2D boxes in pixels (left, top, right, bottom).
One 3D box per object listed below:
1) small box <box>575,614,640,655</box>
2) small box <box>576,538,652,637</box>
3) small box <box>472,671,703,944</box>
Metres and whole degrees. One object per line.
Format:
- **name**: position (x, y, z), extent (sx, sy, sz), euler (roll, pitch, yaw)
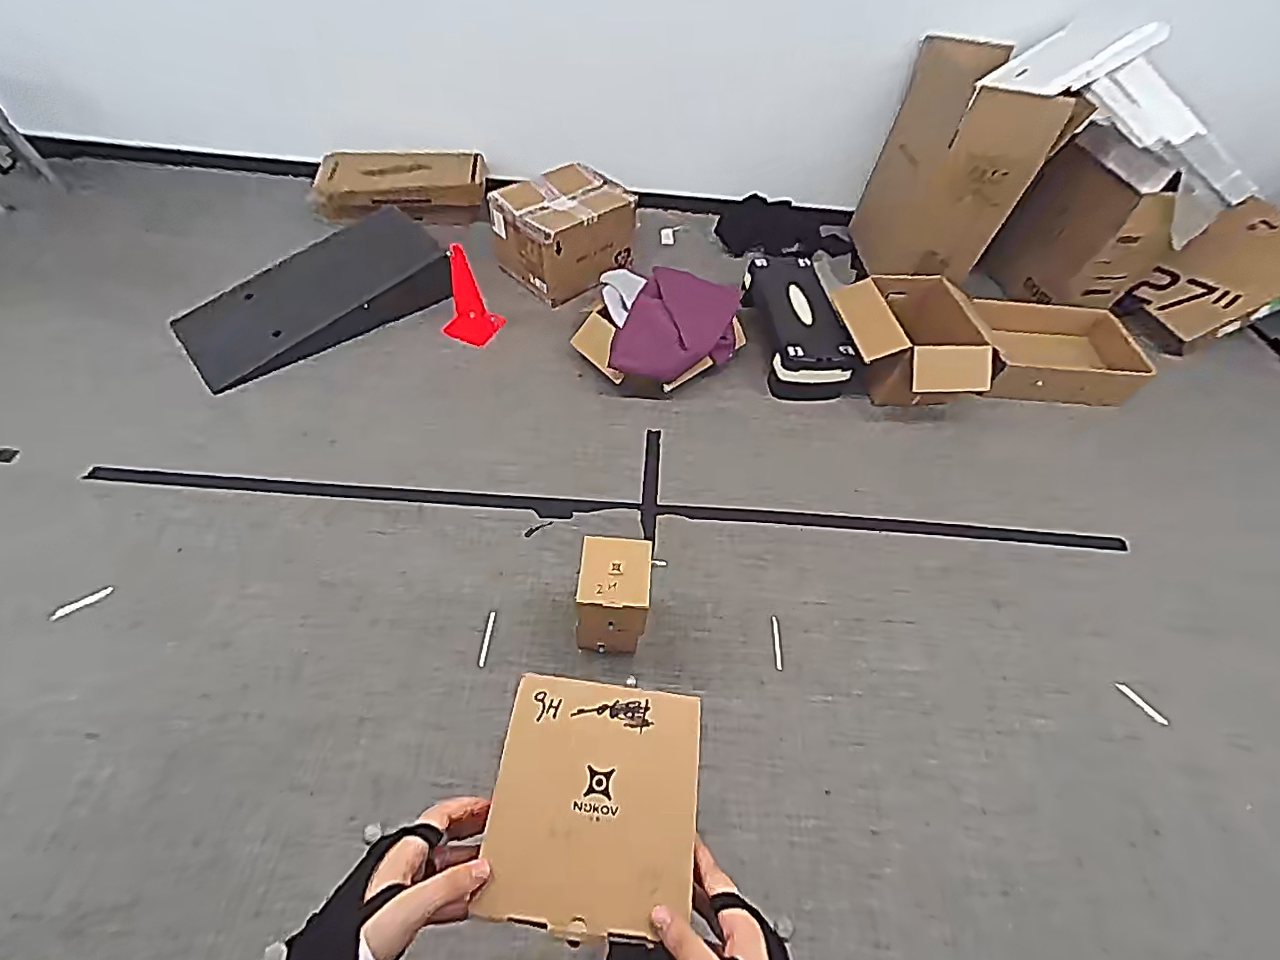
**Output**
- **small box**: position (-0.082, 0.353, 1.452), extent (0.168, 0.176, 0.179), euler (4, 55, -1)
- **small box**: position (-0.063, 0.263, 1.314), extent (0.168, 0.176, 0.179), euler (4, 54, -1)
- **small box**: position (-0.039, 0.298, 0.505), extent (0.168, 0.176, 0.179), euler (8, 56, 0)
